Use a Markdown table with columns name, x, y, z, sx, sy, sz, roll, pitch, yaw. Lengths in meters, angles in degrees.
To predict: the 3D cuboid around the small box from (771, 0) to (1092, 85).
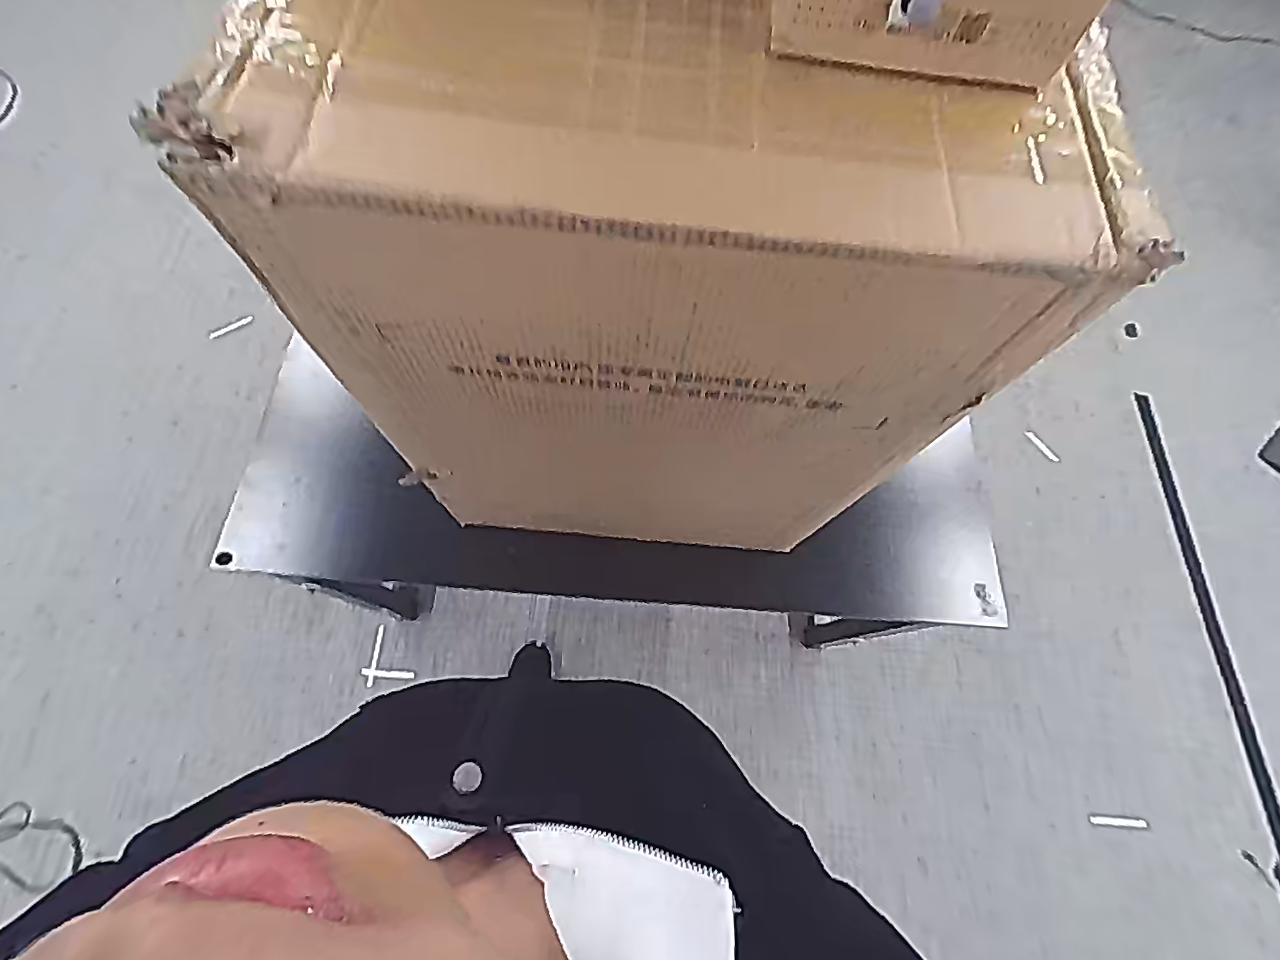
| name | x | y | z | sx | sy | sz | roll | pitch | yaw |
| --- | --- | --- | --- | --- | --- | --- | --- | --- | --- |
| small box | 0.169 | -0.352 | 0.279 | 0.168 | 0.176 | 0.179 | 6 | 68 | 0 |
